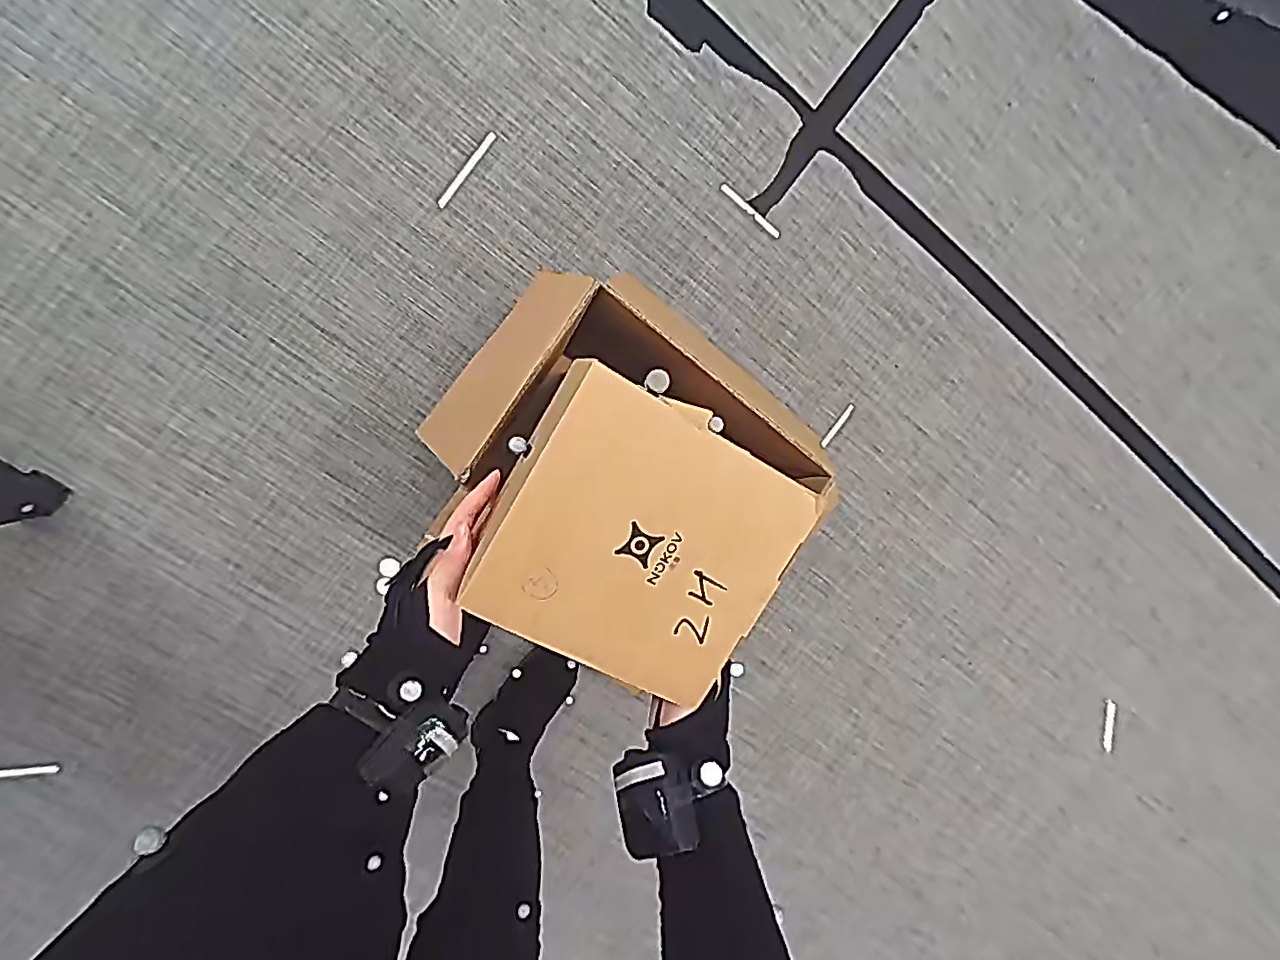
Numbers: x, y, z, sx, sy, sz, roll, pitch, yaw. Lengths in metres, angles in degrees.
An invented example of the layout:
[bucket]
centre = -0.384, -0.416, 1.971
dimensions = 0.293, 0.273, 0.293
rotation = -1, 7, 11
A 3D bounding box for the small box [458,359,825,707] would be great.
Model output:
[small box]
centre = -0.008, 0.026, 0.407
dimensions = 0.179, 0.176, 0.168
rotation = 30, 96, -15
